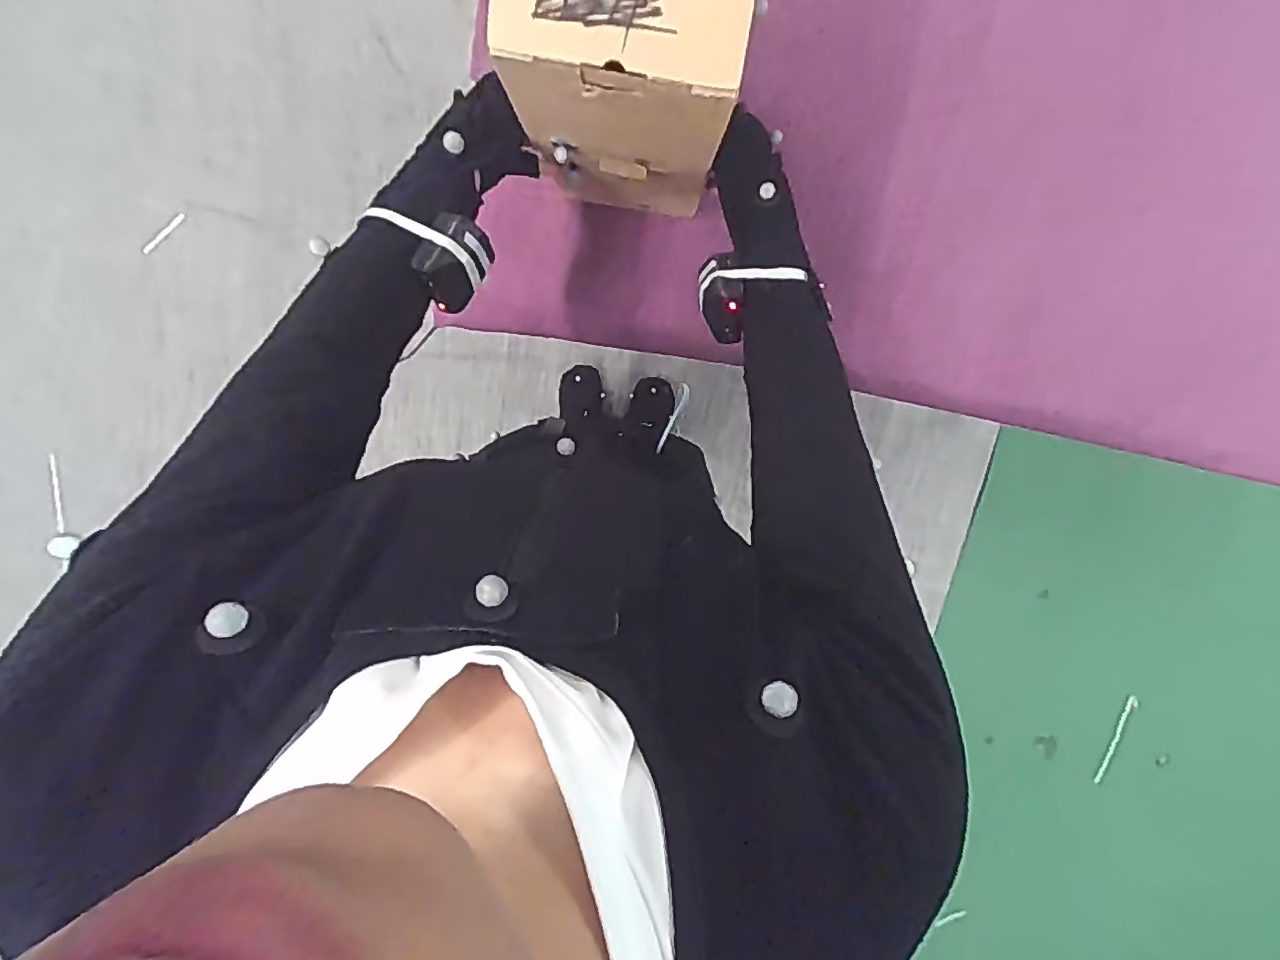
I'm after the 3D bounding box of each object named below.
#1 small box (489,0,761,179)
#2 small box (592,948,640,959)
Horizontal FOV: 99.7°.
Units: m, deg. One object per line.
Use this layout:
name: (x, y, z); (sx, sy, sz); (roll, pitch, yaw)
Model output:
small box: (-0.001, -0.353, 0.403); (0.168, 0.176, 0.179); (11, 103, -5)
small box: (-0.087, 1.670, 1.741); (0.168, 0.176, 0.179); (9, 104, -2)
